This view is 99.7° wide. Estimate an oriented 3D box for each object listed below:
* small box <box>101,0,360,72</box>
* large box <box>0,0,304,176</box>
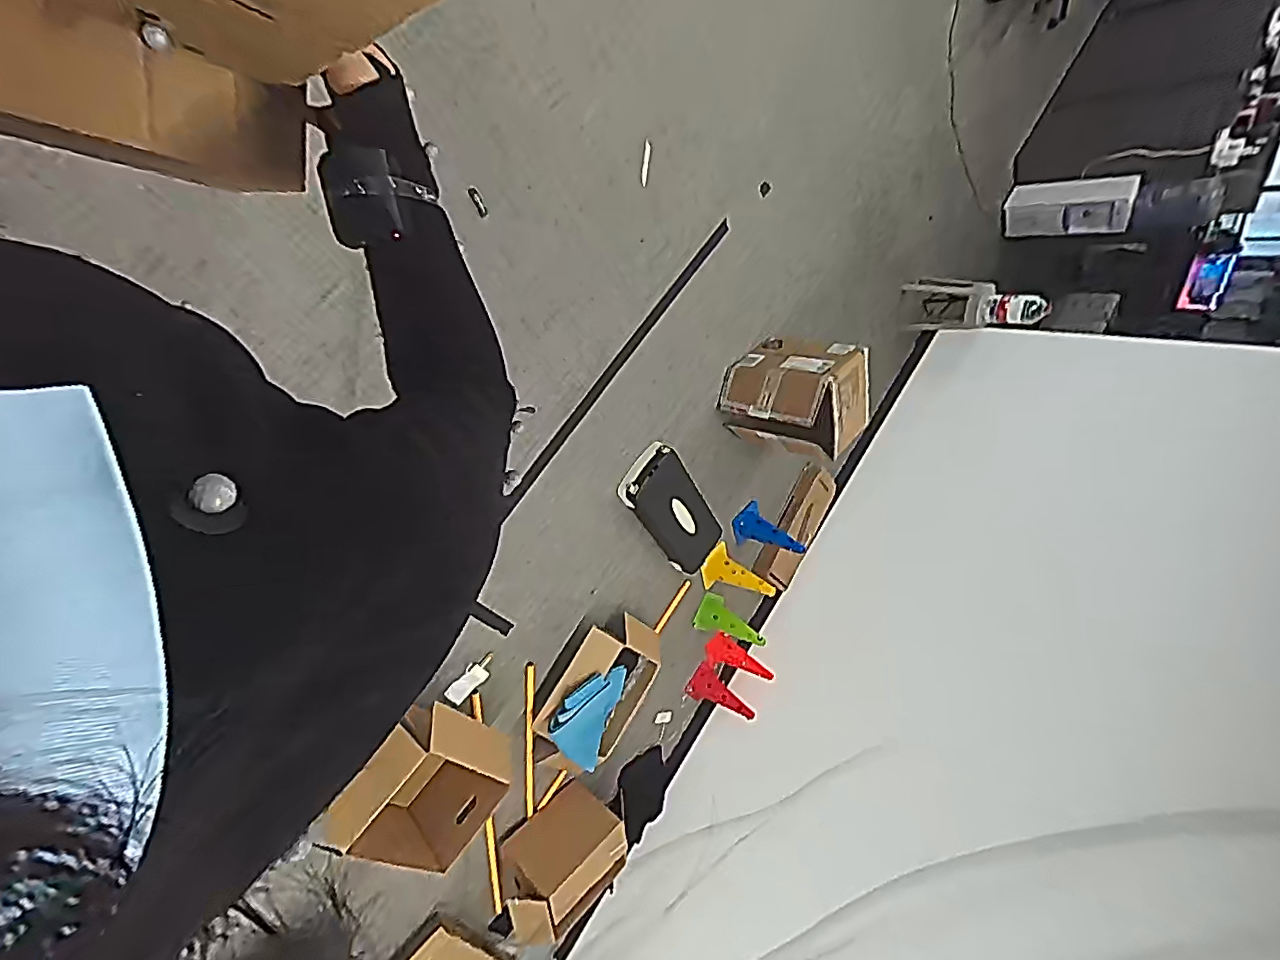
[{"bbox_3d":[-0.258,-0.364,0.289,0.168,0.176,0.179,-2,112,-44],"label":"small box"},{"bbox_3d":[-0.502,-0.433,0.376,0.408,0.320,0.320,-7,114,-44],"label":"large box"}]
